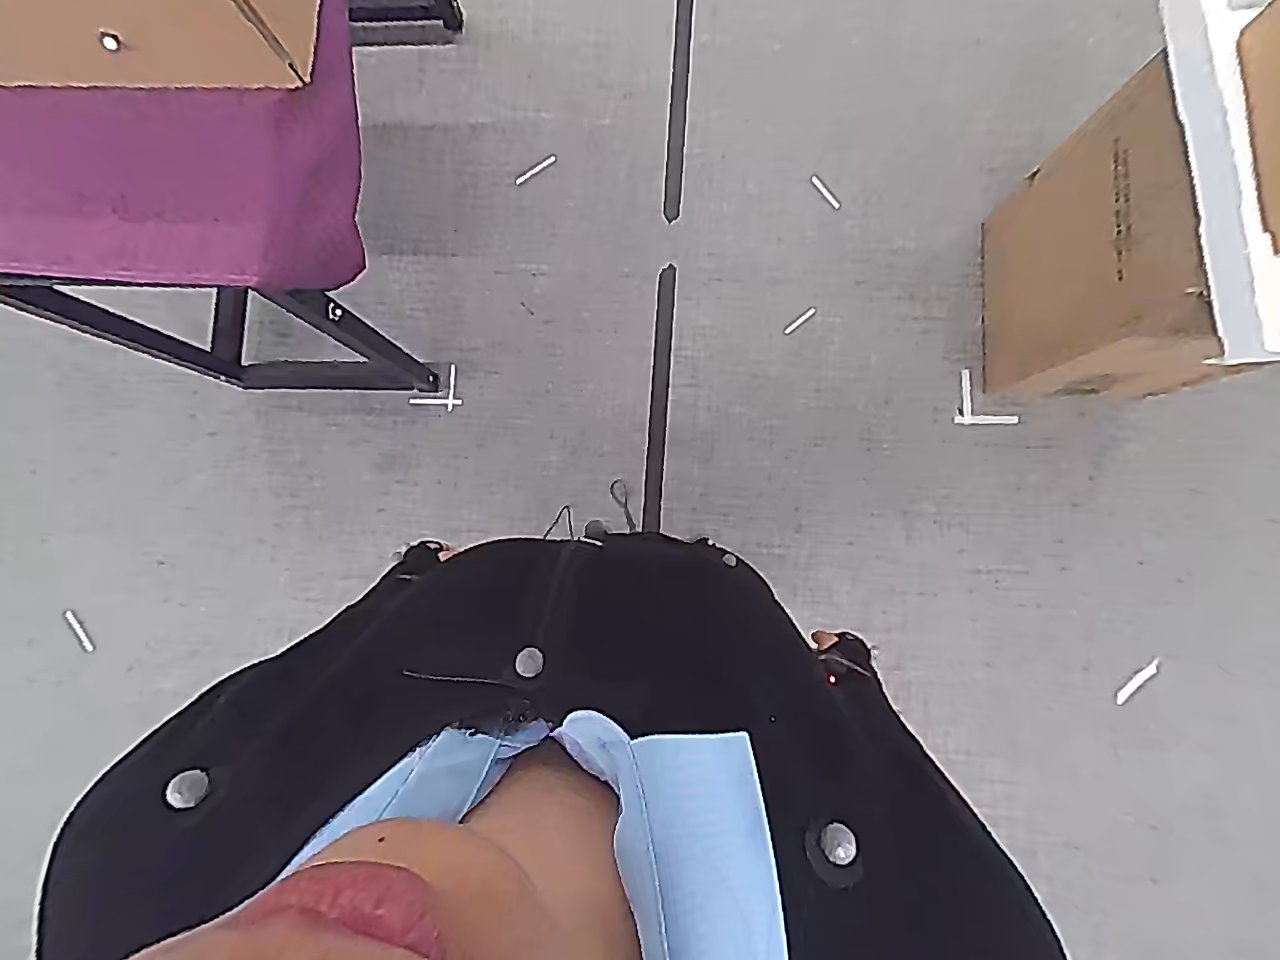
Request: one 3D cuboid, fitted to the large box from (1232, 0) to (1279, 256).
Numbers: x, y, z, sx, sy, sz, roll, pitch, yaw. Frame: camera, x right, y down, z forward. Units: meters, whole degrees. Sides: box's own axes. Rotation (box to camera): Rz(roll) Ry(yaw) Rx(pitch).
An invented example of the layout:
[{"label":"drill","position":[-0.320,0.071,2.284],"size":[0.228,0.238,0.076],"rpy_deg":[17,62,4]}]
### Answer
[{"label":"large box","position":[1.143,-0.570,0.733],"size":[0.320,0.320,0.408],"rpy_deg":[-2,83,1]}]
